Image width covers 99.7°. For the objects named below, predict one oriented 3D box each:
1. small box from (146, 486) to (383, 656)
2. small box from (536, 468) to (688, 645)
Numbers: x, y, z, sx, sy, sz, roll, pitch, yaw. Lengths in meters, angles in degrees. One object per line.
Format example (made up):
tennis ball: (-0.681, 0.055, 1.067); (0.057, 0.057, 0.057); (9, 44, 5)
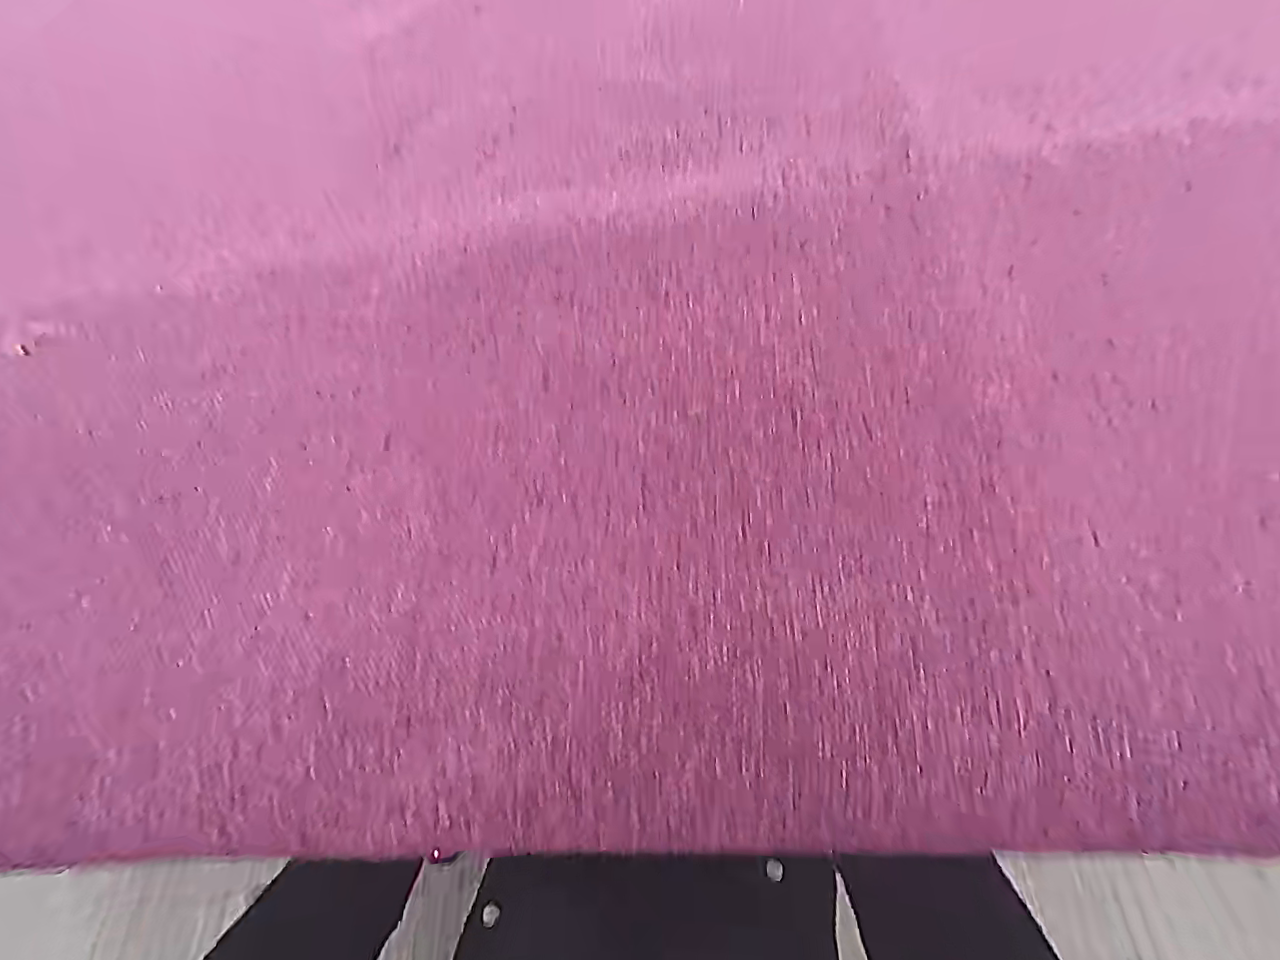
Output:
small box: (-0.455, 0.122, 0.692); (0.168, 0.176, 0.179); (-2, 65, 1)
small box: (-0.030, 0.103, 0.683); (0.168, 0.176, 0.179); (-5, 65, 2)
